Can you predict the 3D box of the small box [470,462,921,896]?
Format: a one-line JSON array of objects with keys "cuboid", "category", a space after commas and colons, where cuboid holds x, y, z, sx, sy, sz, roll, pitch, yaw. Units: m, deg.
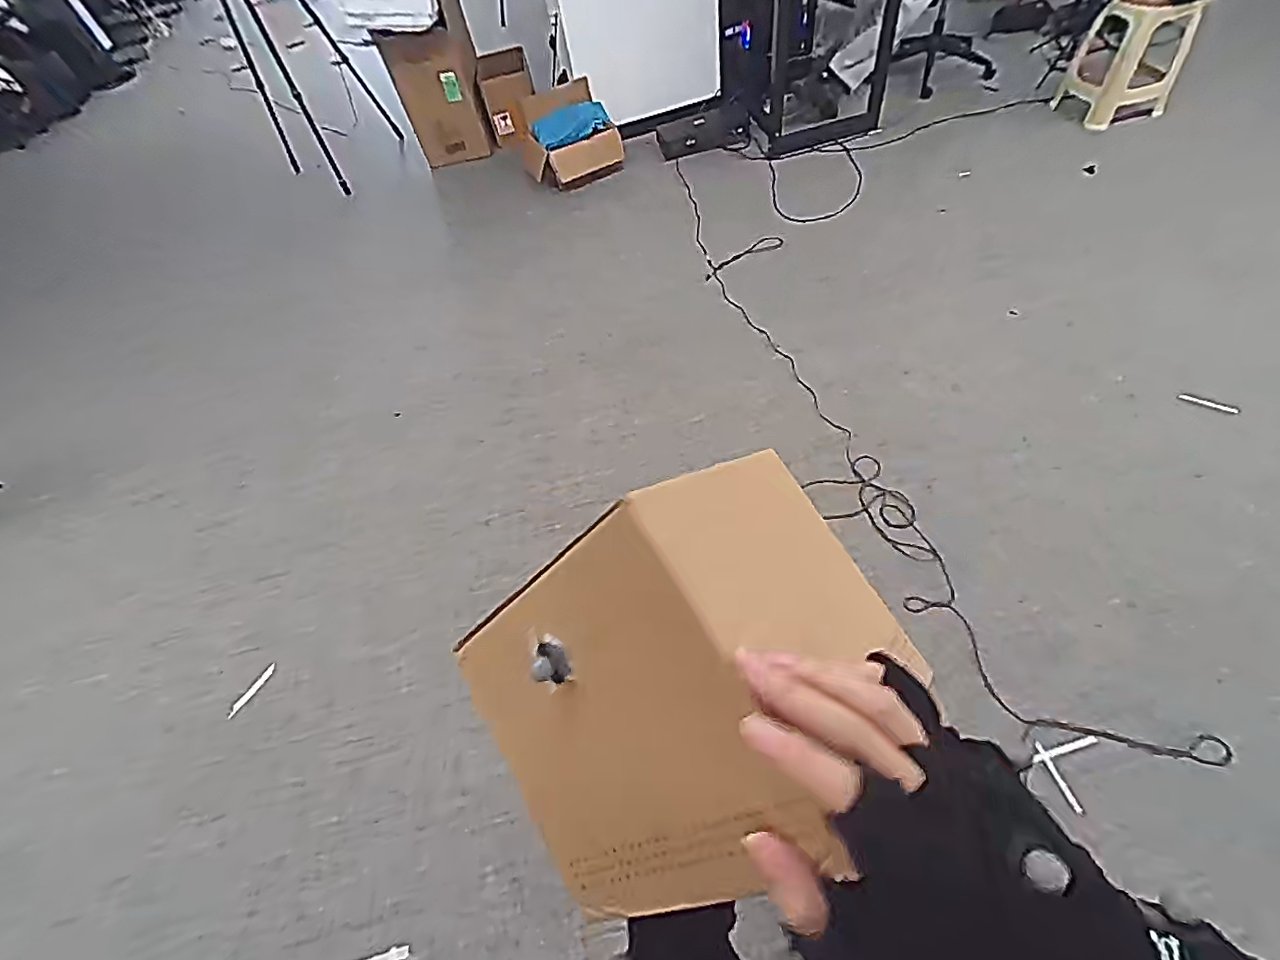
[{"cuboid": [0.032, 0.116, 0.336, 0.168, 0.179, 0.176, -18, 69, -51], "category": "small box"}]
